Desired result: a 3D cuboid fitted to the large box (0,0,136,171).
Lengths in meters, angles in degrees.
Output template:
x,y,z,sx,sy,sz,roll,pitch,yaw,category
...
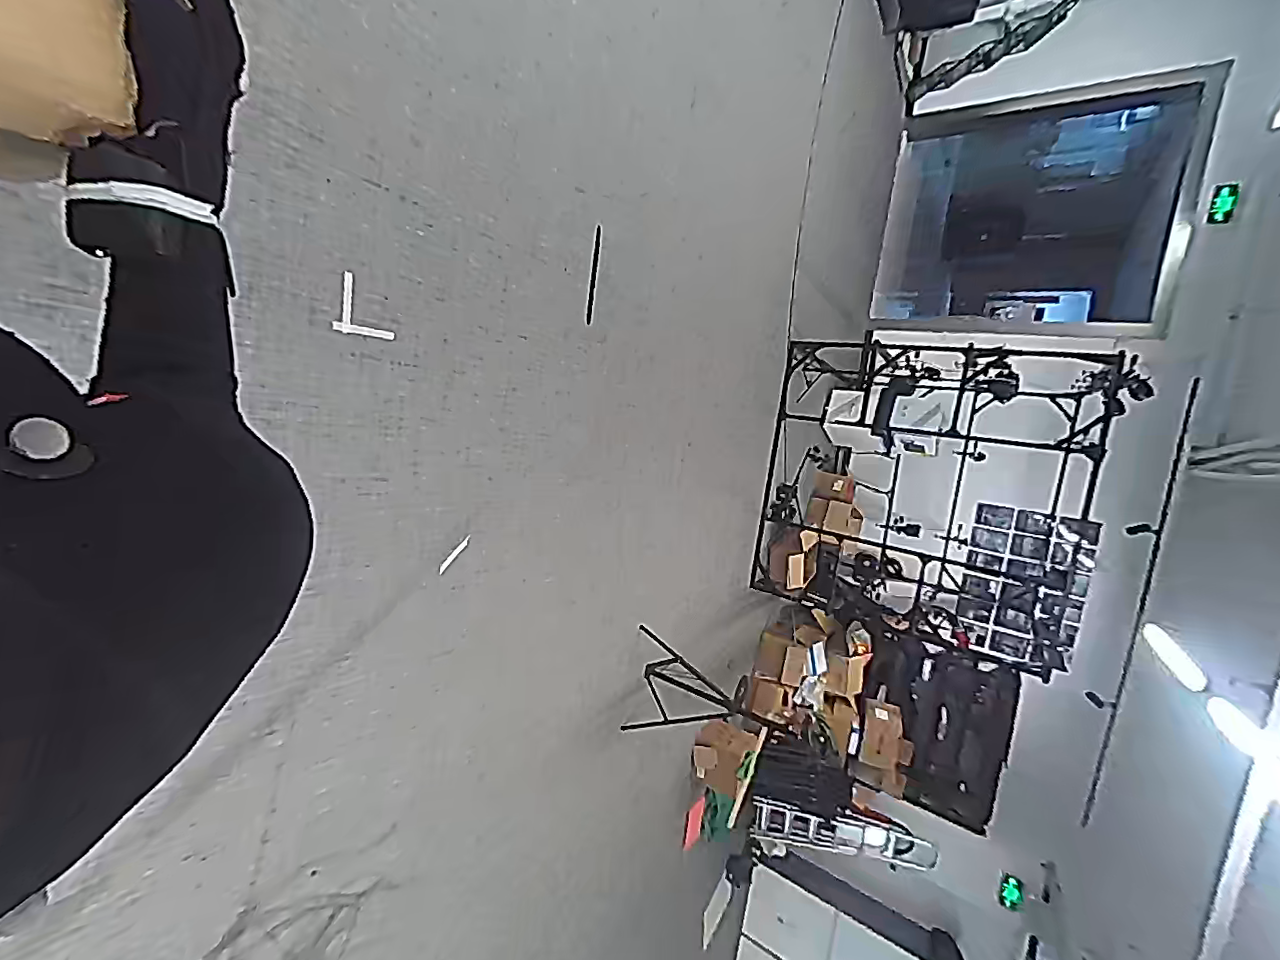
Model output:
x,y,z,sx,sy,sz,roll,pitch,yaw,category
-0.568,-0.399,0.267,0.408,0.320,0.320,-7,111,-58,large box
